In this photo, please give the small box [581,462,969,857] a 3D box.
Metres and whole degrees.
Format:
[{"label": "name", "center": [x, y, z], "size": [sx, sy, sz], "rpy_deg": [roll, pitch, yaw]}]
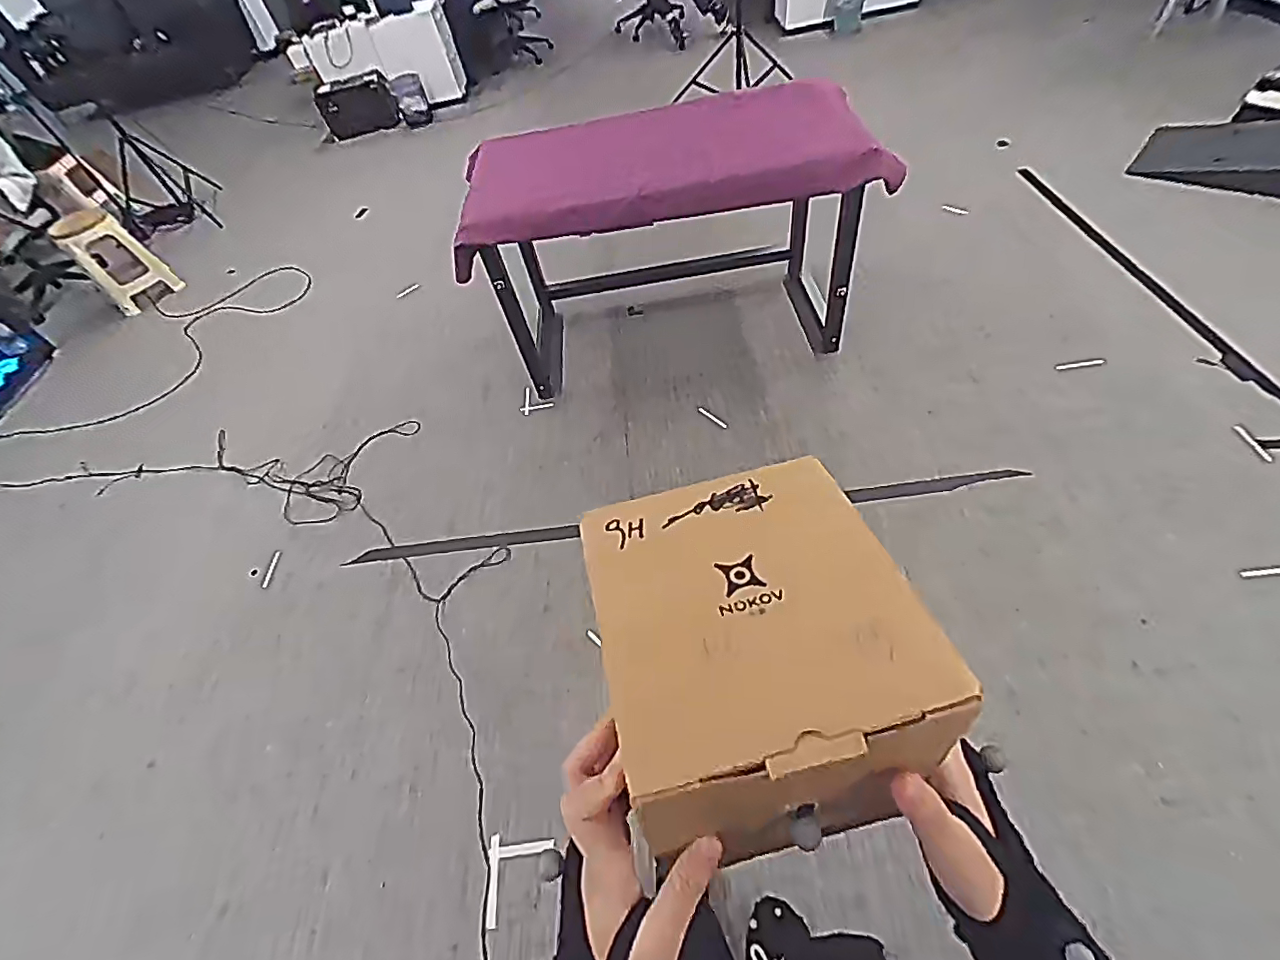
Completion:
[{"label": "small box", "center": [0.066, 0.120, 0.355], "size": [0.168, 0.176, 0.179], "rpy_deg": [-13, 44, -4]}]
